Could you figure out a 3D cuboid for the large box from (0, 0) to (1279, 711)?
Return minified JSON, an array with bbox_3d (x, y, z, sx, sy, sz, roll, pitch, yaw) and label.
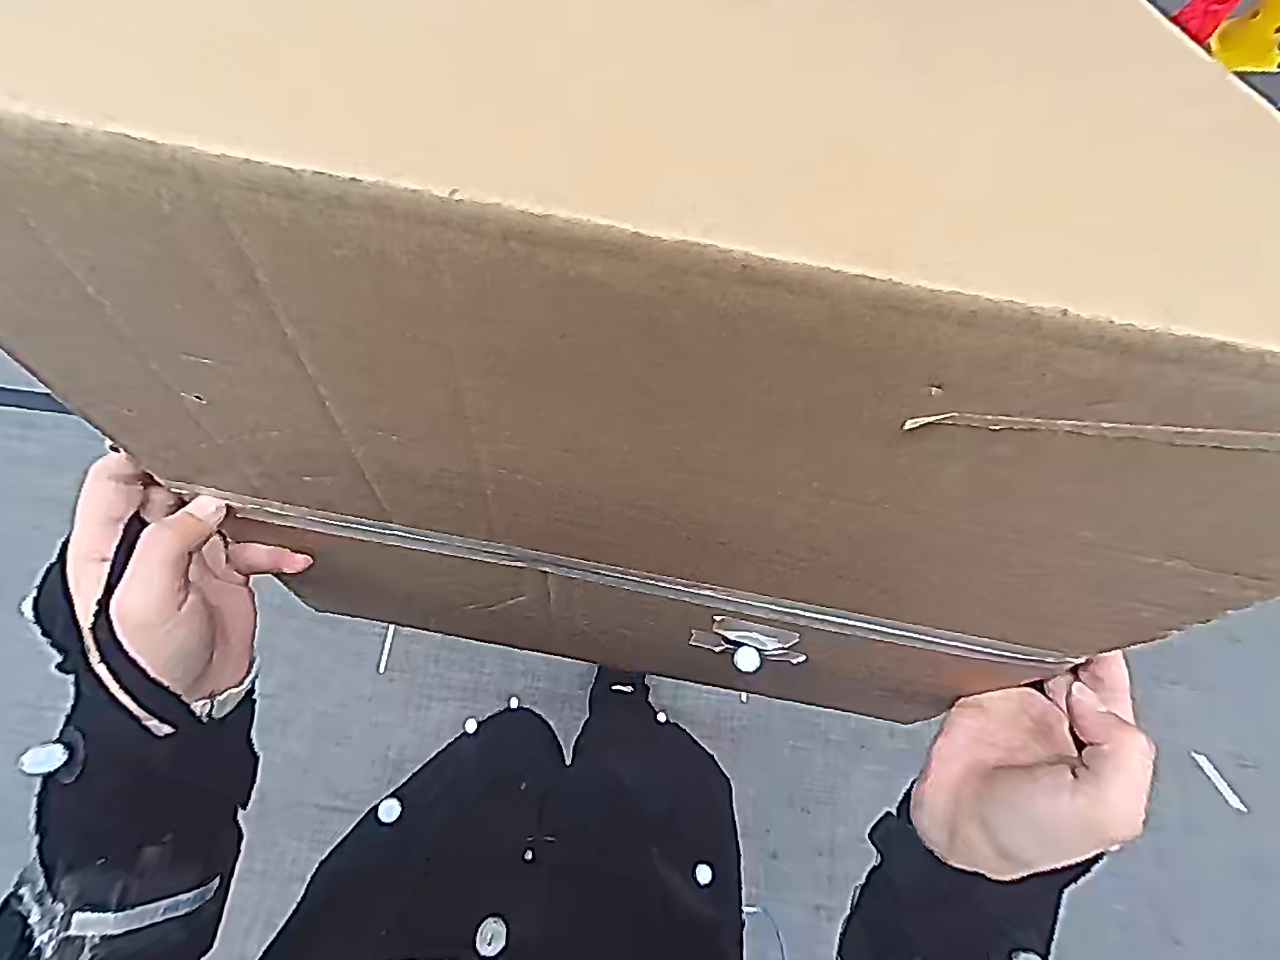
[{"bbox_3d":[0.015,-0.083,0.330,0.408,0.320,0.320,10,57,0],"label":"large box"}]
